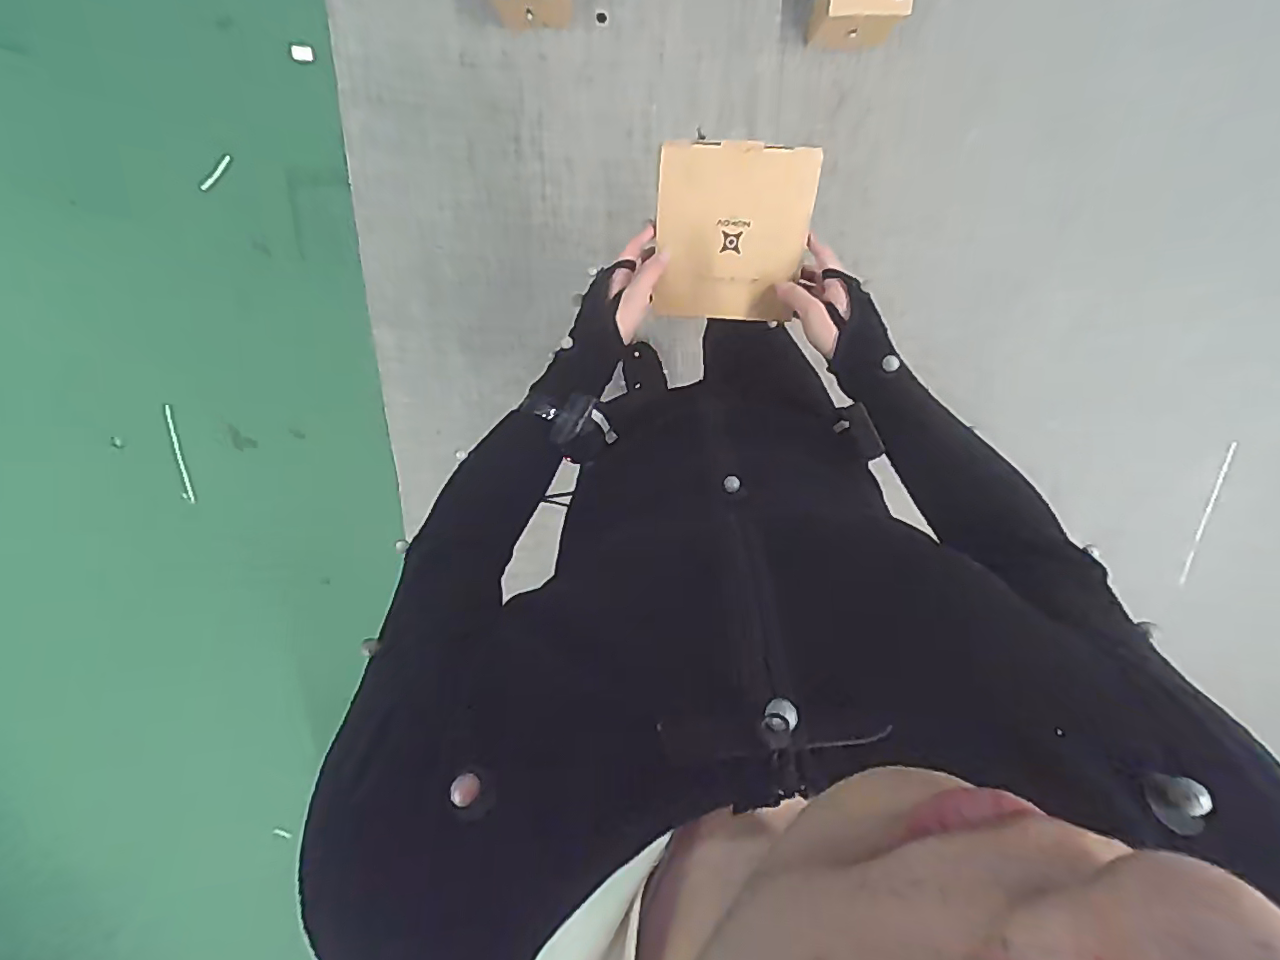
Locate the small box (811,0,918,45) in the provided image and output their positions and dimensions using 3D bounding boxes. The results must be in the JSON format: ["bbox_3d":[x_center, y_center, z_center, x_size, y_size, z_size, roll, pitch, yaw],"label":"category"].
[{"bbox_3d":[0.485,-1.069,1.161,0.179,0.176,0.168,1,109,2],"label":"small box"}]

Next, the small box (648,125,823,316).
[{"bbox_3d":[0.097,-0.308,0.639,0.168,0.176,0.179,4,122,0],"label":"small box"}]

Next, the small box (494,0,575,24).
[{"bbox_3d":[-0.233,-1.116,1.161,0.168,0.176,0.179,0,110,1],"label":"small box"}]
